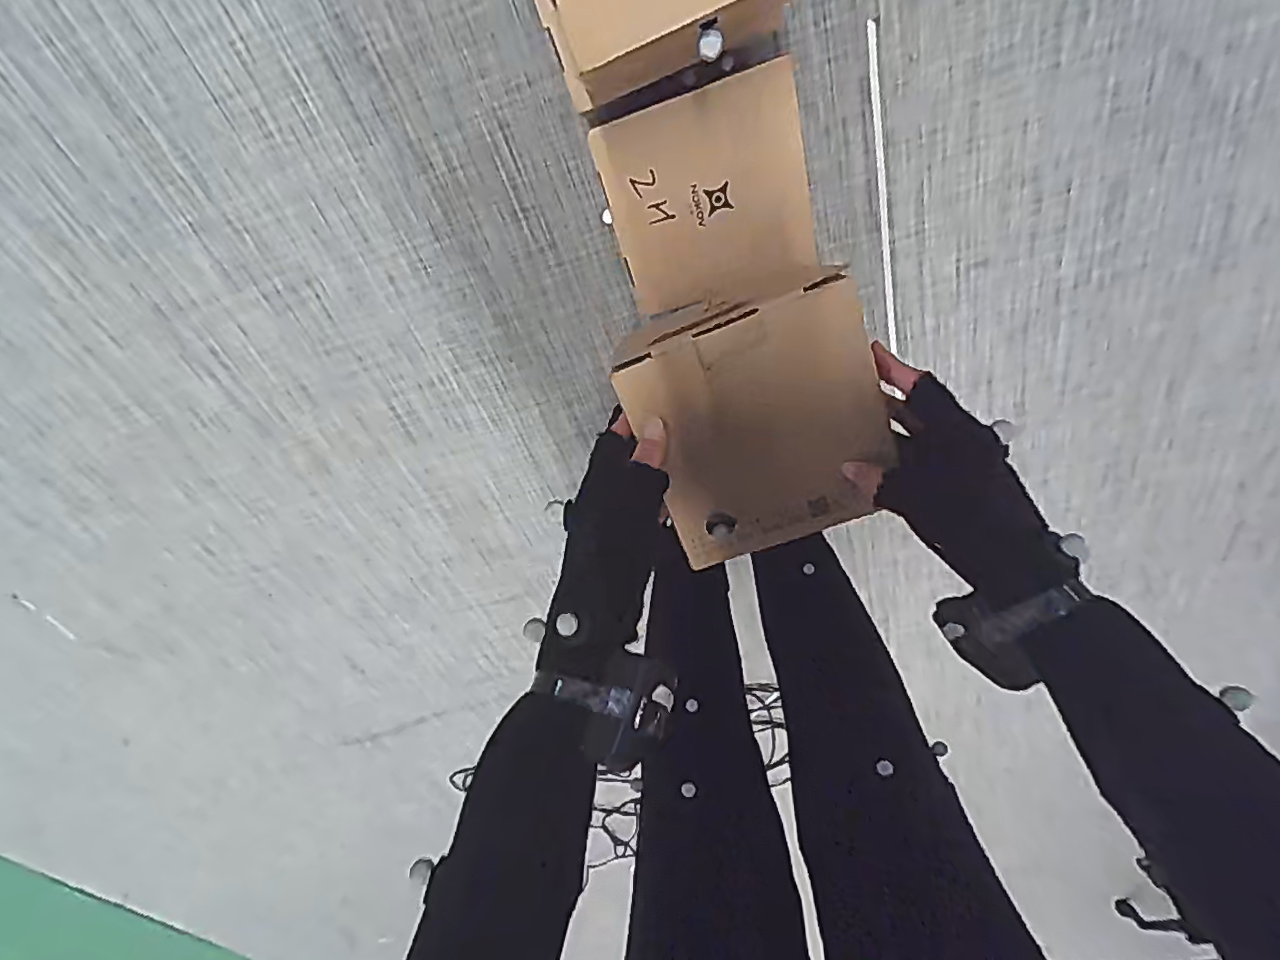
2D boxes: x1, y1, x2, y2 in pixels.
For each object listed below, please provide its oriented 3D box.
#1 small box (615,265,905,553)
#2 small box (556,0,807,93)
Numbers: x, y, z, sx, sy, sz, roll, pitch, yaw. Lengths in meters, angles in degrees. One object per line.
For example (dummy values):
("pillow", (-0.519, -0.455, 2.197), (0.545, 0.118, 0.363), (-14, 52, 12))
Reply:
("small box", (0.093, -0.057, 0.445), (0.168, 0.179, 0.176), (-20, 111, 11))
("small box", (0.021, -0.354, 0.314), (0.179, 0.176, 0.168), (-18, 122, 11))
